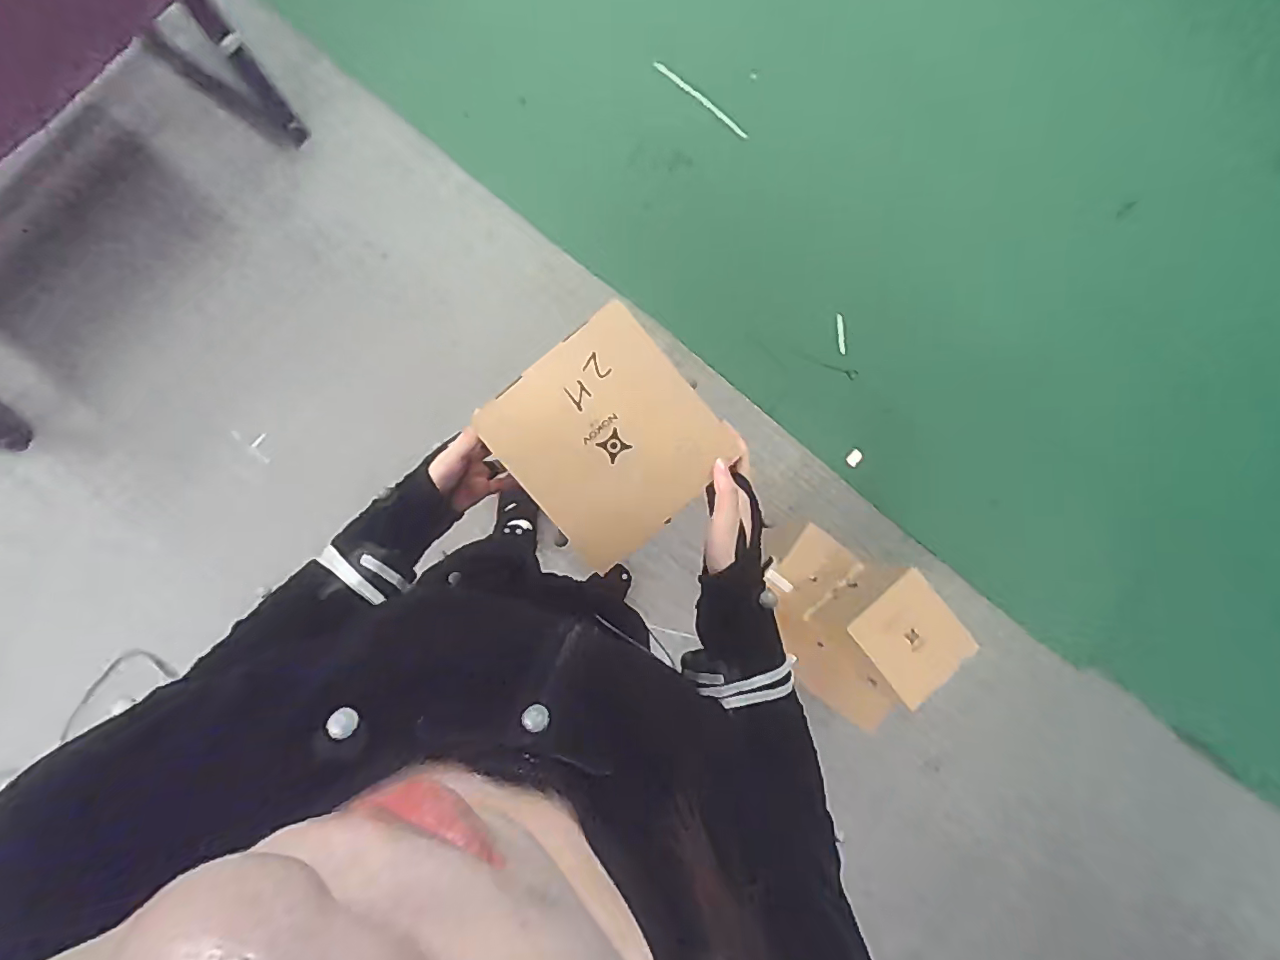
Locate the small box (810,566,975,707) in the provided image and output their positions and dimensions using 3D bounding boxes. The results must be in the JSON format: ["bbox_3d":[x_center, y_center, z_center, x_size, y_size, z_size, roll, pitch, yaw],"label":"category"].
[{"bbox_3d":[0.450,0.272,0.990,0.168,0.176,0.179,-37,88,-8],"label":"small box"}]

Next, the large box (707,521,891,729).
[{"bbox_3d":[0.442,0.344,1.392,0.408,0.320,0.320,39,83,-1],"label":"large box"}]

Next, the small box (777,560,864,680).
[{"bbox_3d":[0.426,0.285,1.151,0.168,0.176,0.179,-41,89,-7],"label":"small box"}]
